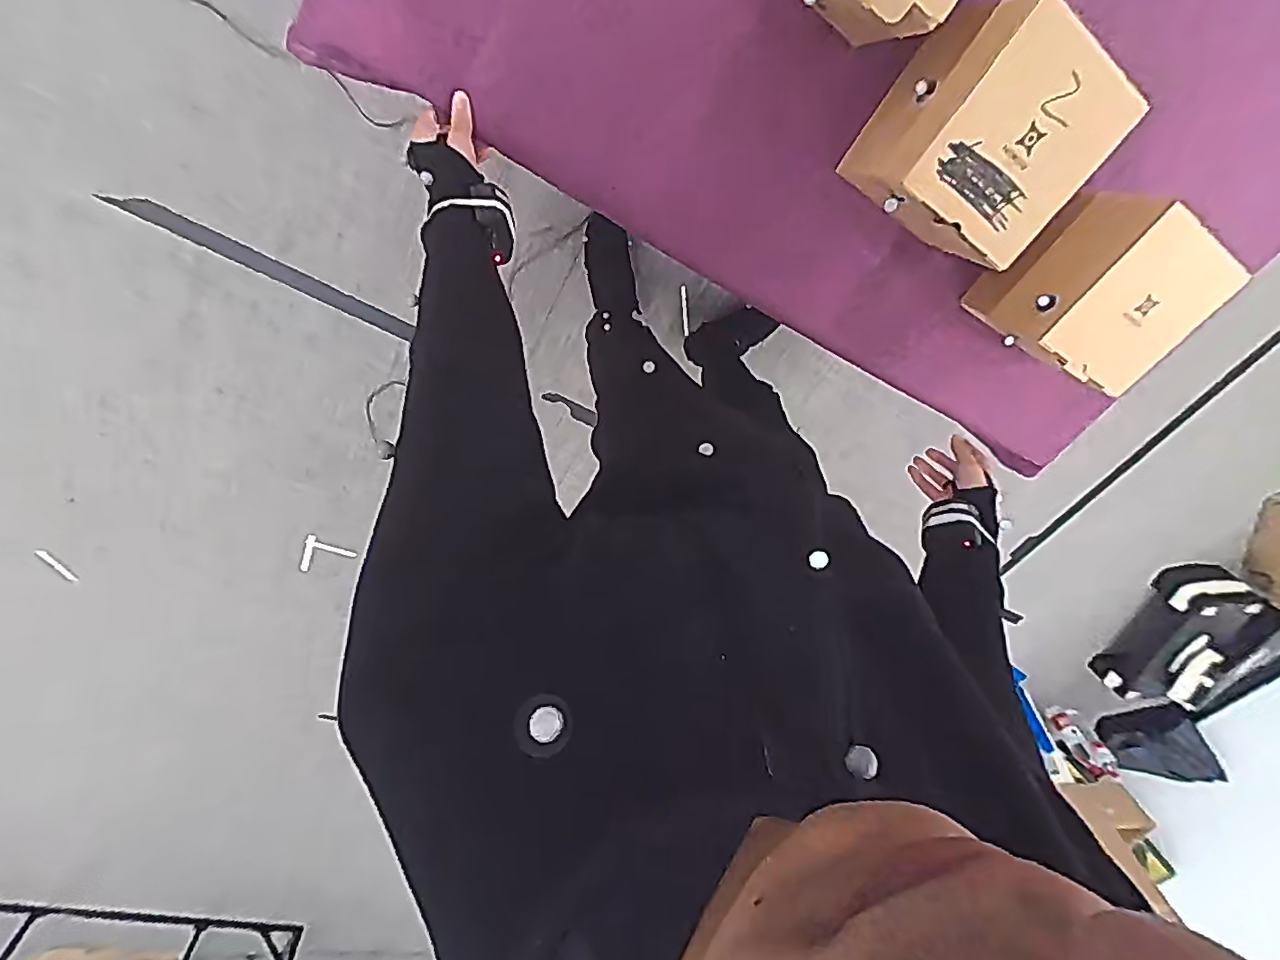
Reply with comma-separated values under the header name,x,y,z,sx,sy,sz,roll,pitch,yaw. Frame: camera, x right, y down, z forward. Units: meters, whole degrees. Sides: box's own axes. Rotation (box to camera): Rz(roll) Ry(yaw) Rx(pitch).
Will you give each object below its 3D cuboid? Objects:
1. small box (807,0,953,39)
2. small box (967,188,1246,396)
name,x,y,z,sx,sy,sz,roll,pitch,yaw
small box,0.220,-0.525,0.459,0.168,0.176,0.179,25,119,-21
small box,0.576,-0.246,0.694,0.168,0.176,0.179,23,119,-20
